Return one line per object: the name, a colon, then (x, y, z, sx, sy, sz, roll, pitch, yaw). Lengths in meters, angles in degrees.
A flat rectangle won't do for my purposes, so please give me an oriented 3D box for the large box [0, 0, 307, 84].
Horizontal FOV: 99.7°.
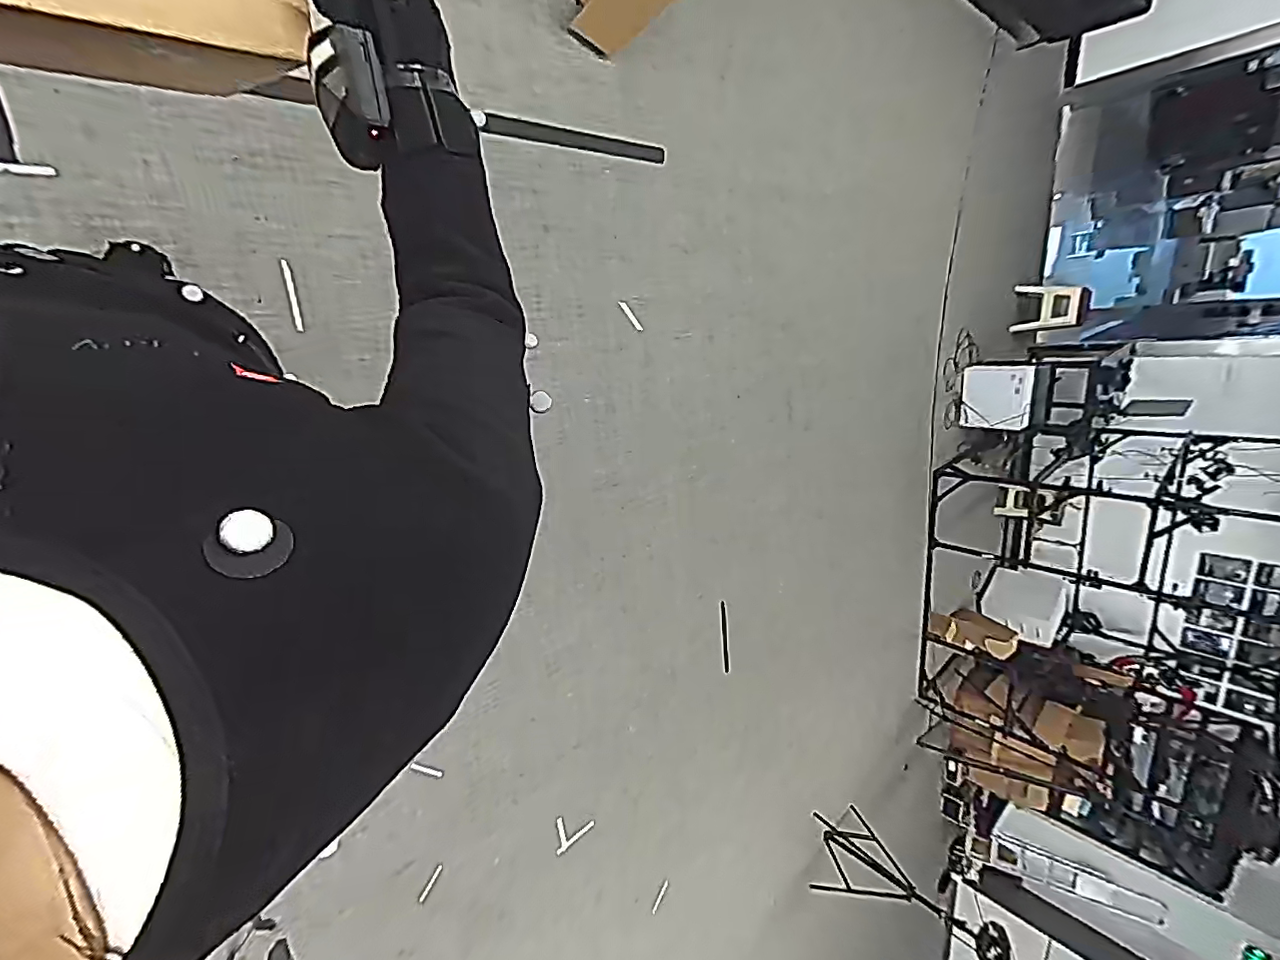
large box: (-0.466, -0.430, 0.273, 0.408, 0.320, 0.320, -20, 127, -39)
